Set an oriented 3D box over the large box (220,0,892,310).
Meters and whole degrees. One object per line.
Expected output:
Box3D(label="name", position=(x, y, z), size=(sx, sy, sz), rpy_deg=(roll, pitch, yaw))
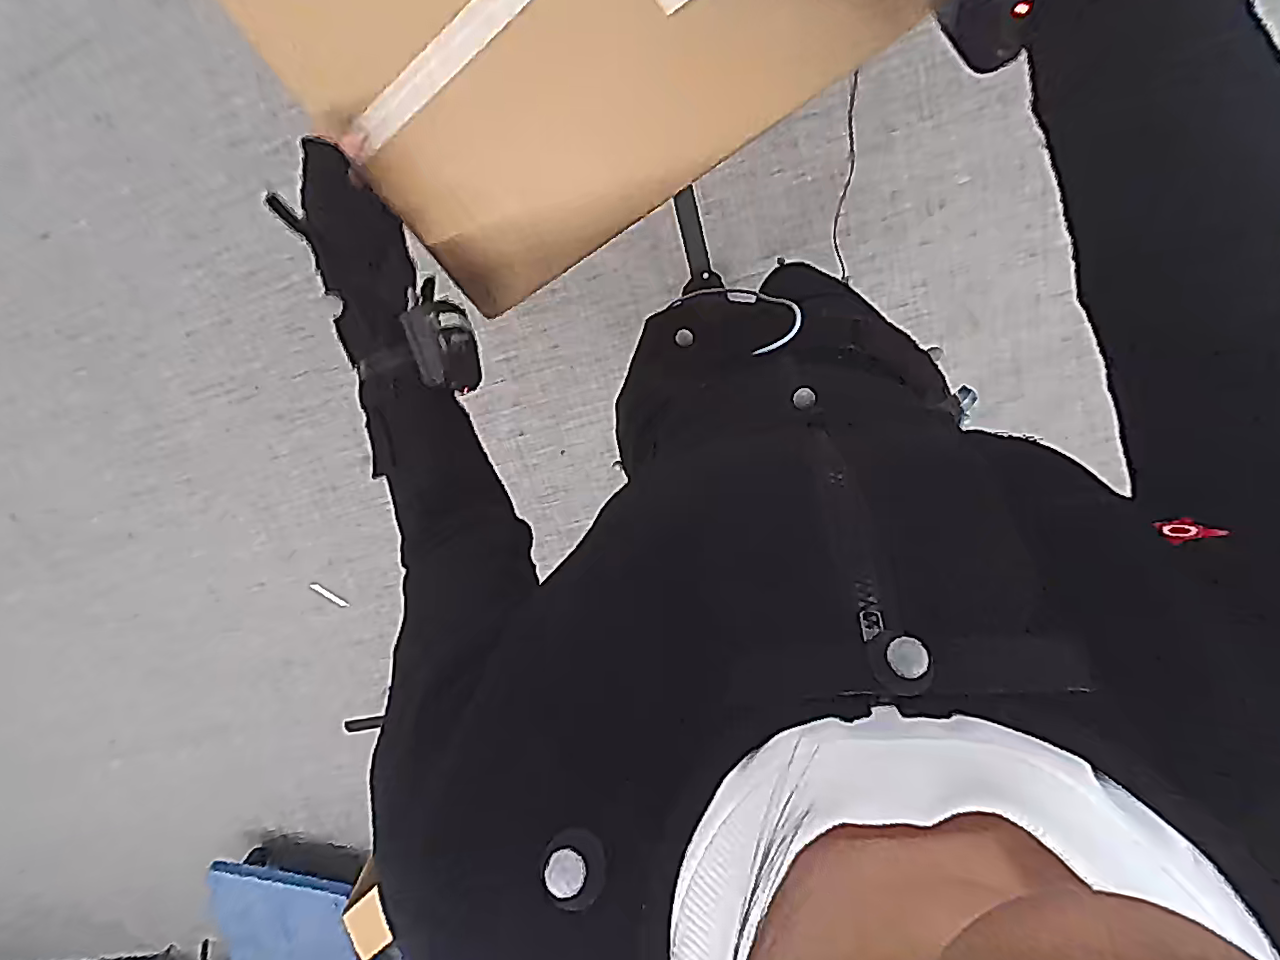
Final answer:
Box3D(label="large box", position=(-0.052, -0.427, 0.460), size=(0.408, 0.320, 0.320), rpy_deg=(-28, 121, 23))
